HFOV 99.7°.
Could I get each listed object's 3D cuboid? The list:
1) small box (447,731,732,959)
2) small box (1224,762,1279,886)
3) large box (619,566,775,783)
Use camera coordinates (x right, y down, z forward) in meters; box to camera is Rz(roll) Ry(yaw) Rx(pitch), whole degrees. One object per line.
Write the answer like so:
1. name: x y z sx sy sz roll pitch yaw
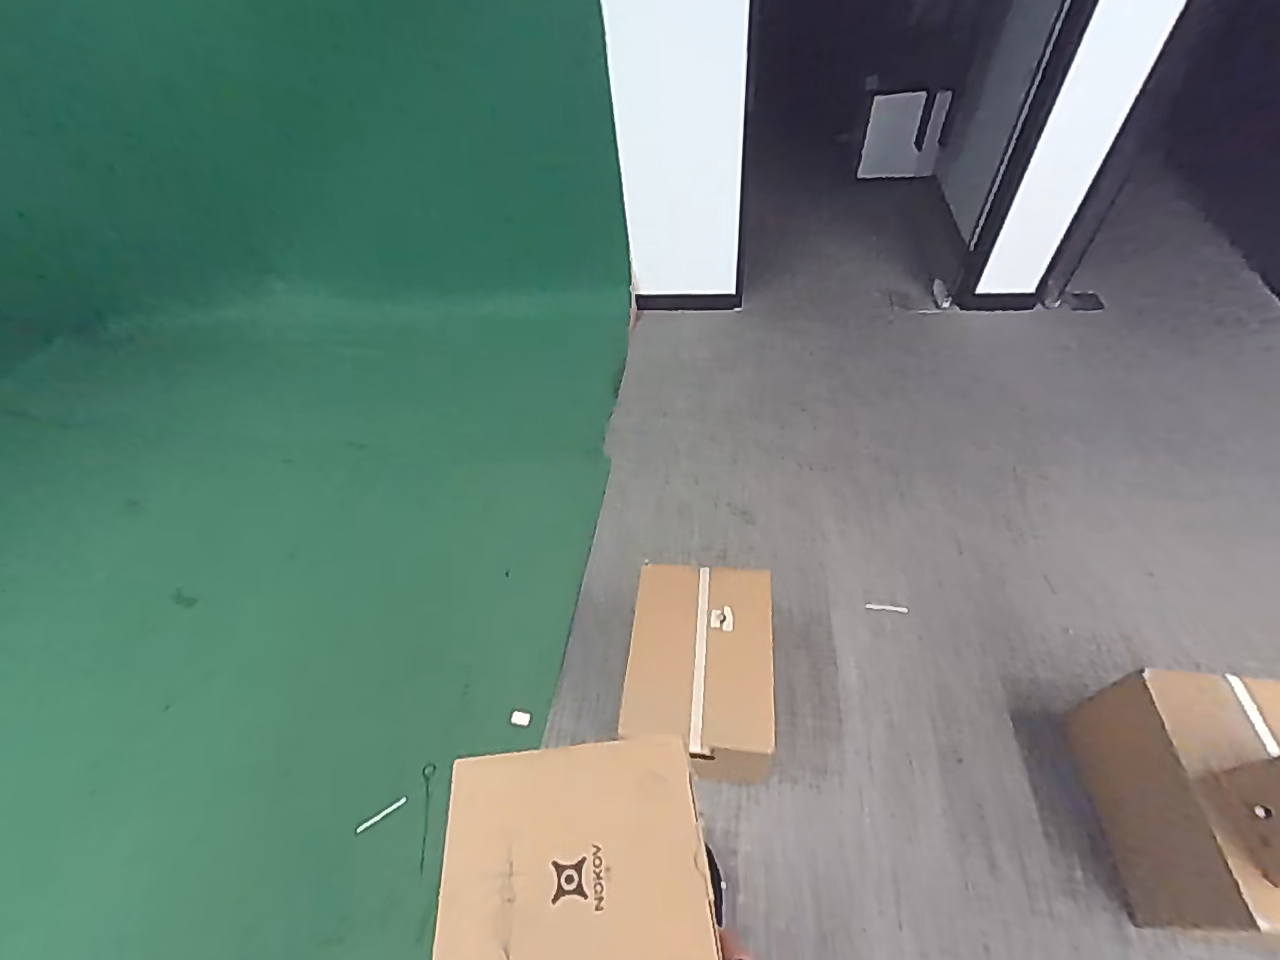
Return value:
1. small box: -0.037 0.313 0.418 0.179 0.176 0.168 -4 46 -4
2. small box: 1.077 0.527 0.818 0.179 0.176 0.168 0 52 9
3. large box: 0.147 0.463 1.295 0.320 0.320 0.408 2 51 9
